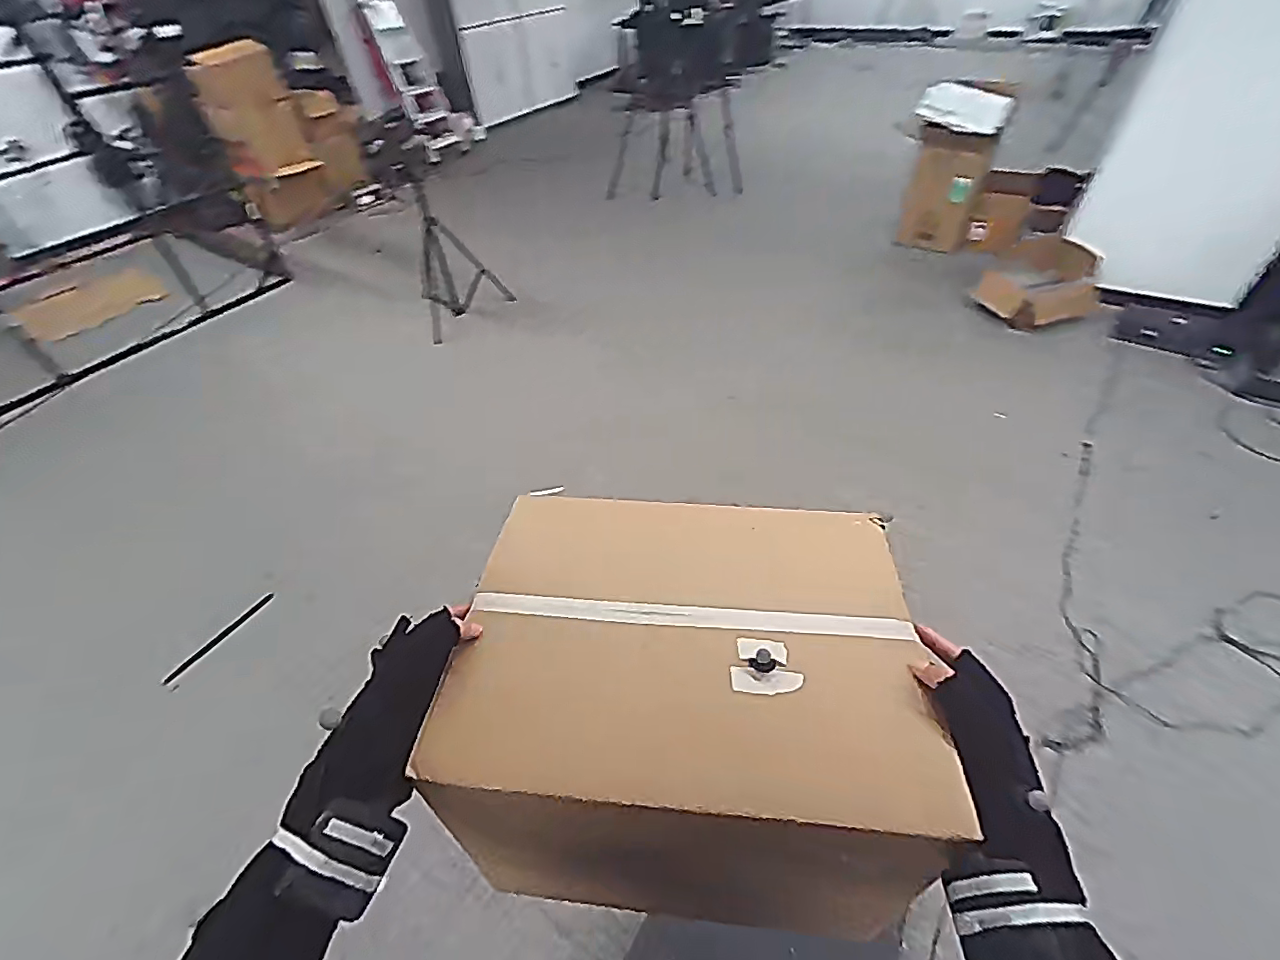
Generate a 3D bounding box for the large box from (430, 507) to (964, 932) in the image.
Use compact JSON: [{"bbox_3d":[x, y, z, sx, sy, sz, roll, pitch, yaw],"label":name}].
[{"bbox_3d":[0.050,0.252,0.604,0.408,0.320,0.320,3,41,6],"label":"large box"}]
